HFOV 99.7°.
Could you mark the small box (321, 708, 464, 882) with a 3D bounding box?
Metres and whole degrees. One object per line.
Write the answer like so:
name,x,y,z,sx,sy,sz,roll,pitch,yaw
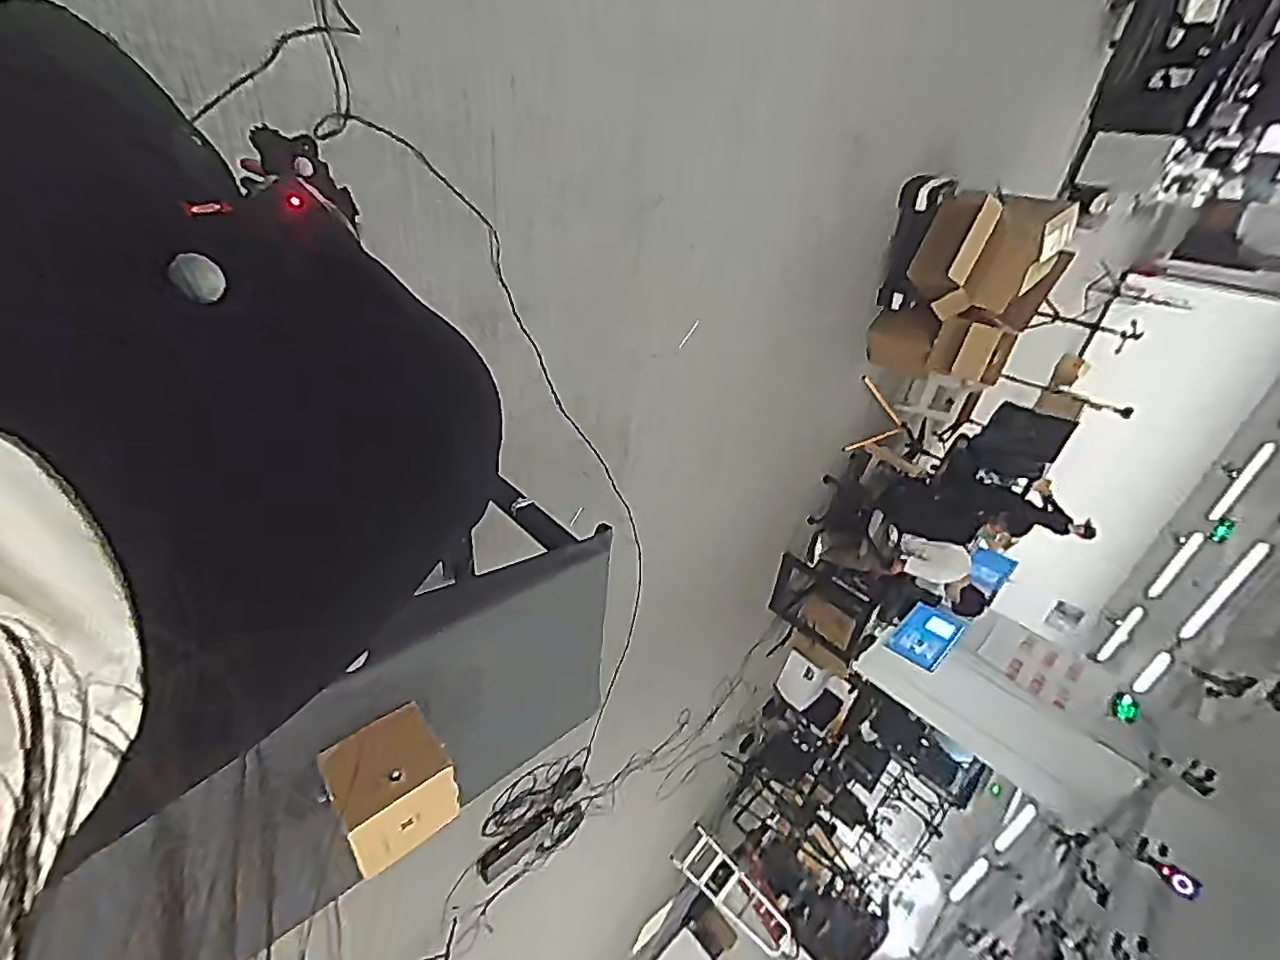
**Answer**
small box,-0.443,0.555,0.977,0.179,0.176,0.168,-23,131,-36
